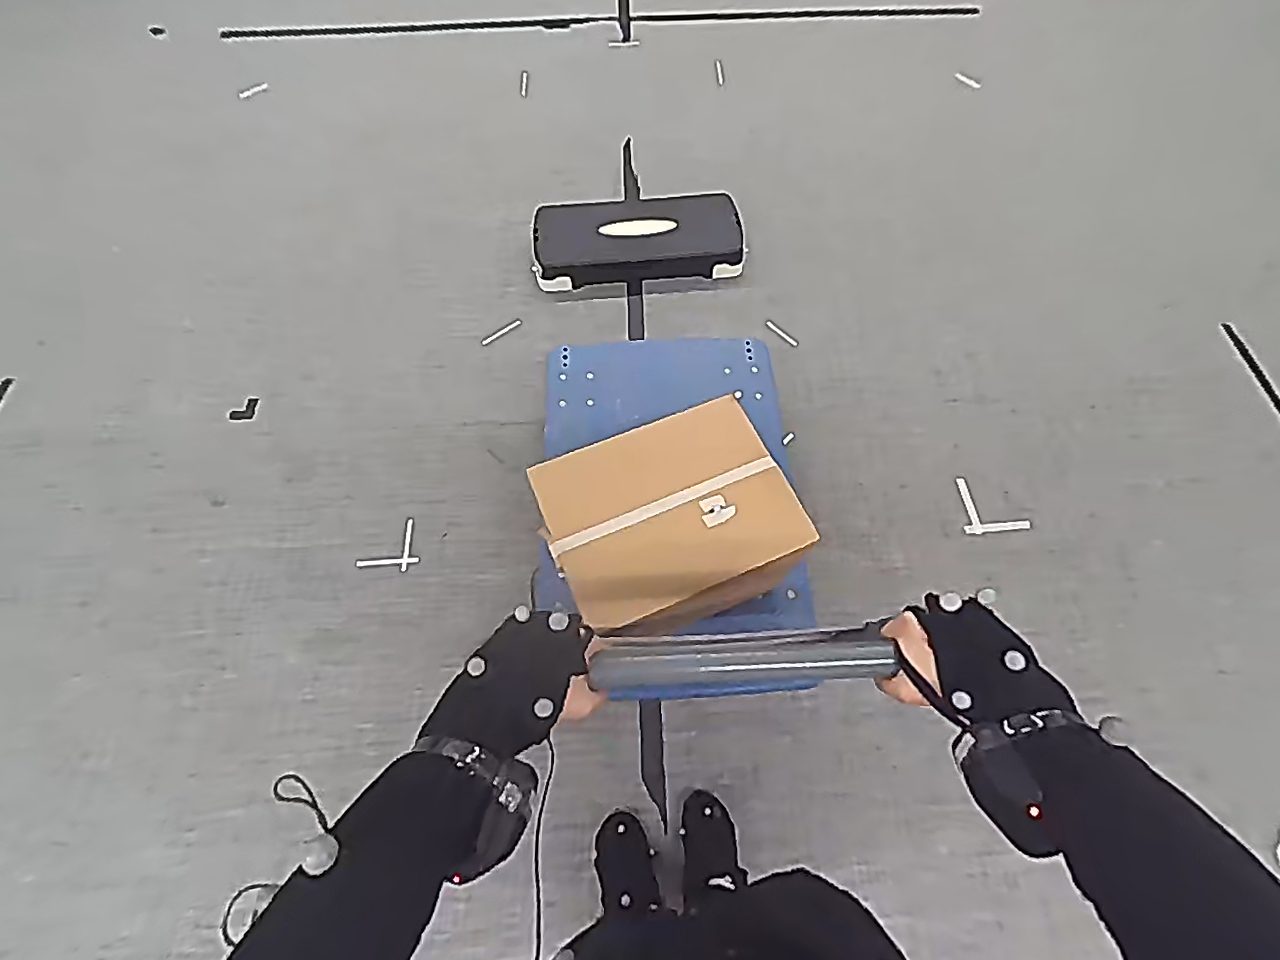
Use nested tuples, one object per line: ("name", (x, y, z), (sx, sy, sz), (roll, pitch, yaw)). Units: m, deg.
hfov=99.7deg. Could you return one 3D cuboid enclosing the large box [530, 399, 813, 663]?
("large box", (0.044, 0.109, 1.045), (0.408, 0.320, 0.320), (-21, 67, -11))
